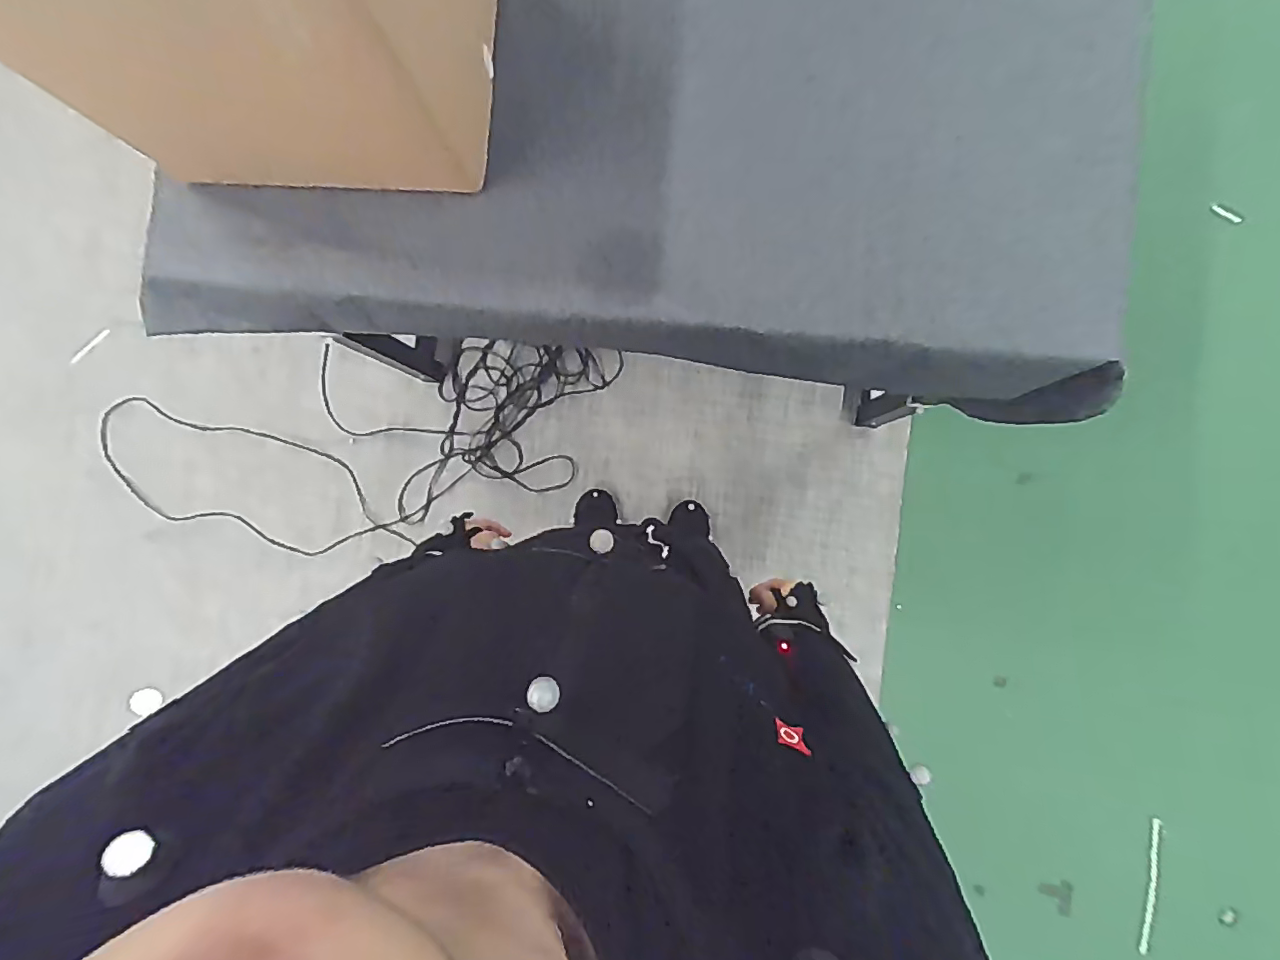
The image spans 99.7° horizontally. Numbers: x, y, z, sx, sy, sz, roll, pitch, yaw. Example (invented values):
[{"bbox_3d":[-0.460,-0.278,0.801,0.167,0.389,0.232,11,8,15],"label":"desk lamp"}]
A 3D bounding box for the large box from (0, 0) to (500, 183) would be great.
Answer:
[{"bbox_3d":[-0.386,-0.534,0.543,0.408,0.320,0.320,3,89,2],"label":"large box"}]
